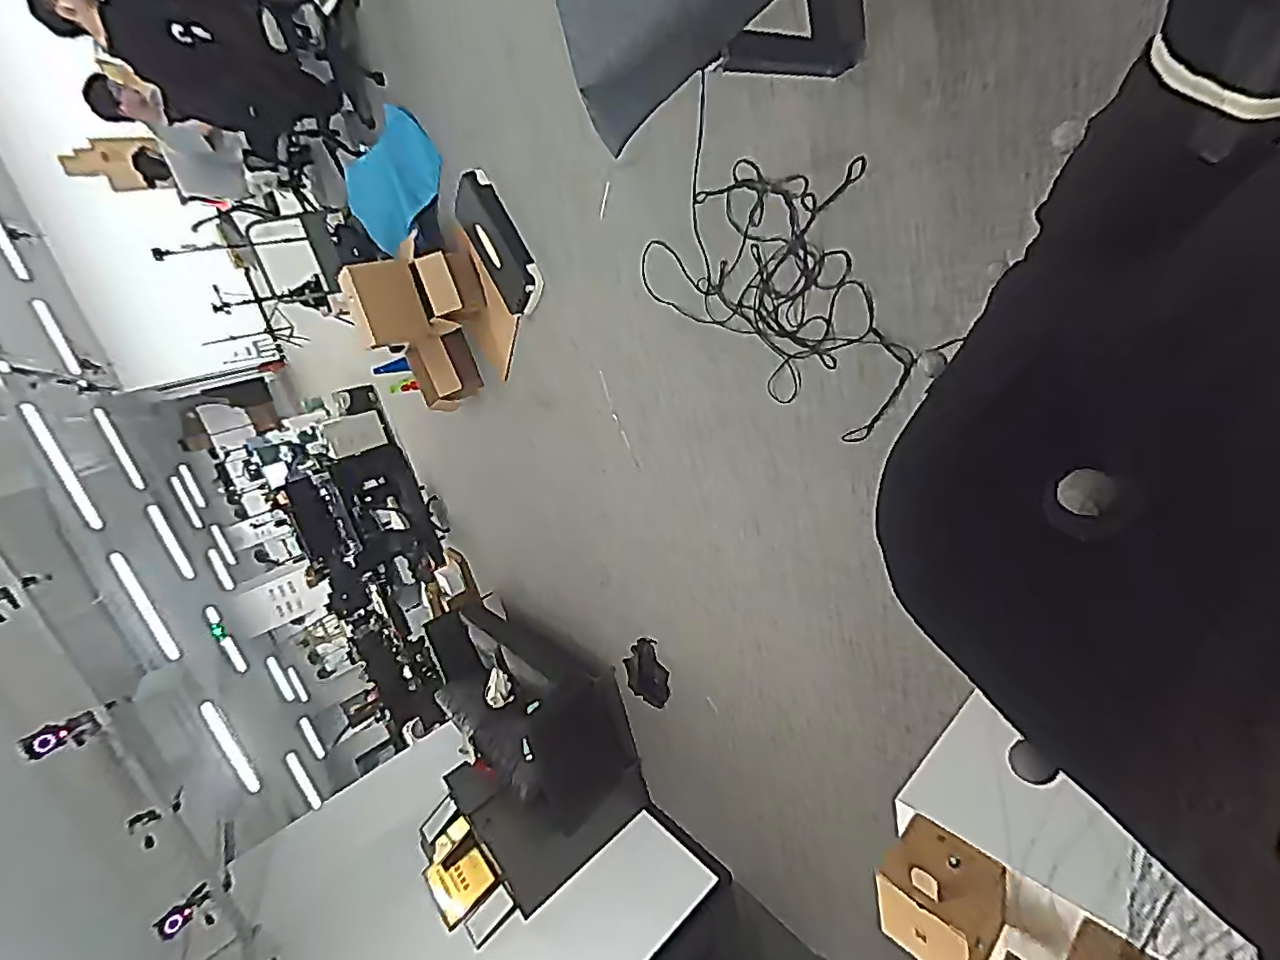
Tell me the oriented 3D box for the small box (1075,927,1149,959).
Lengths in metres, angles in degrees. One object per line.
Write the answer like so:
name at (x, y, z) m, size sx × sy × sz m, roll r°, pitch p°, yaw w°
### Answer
small box at (0.749, 0.845, 0.816) m, size 0.168 × 0.176 × 0.179 m, roll 14°, pitch 124°, yaw 53°

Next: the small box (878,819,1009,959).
small box at (0.580, 0.807, 1.031) m, size 0.168 × 0.176 × 0.179 m, roll 12°, pitch 121°, yaw 51°
